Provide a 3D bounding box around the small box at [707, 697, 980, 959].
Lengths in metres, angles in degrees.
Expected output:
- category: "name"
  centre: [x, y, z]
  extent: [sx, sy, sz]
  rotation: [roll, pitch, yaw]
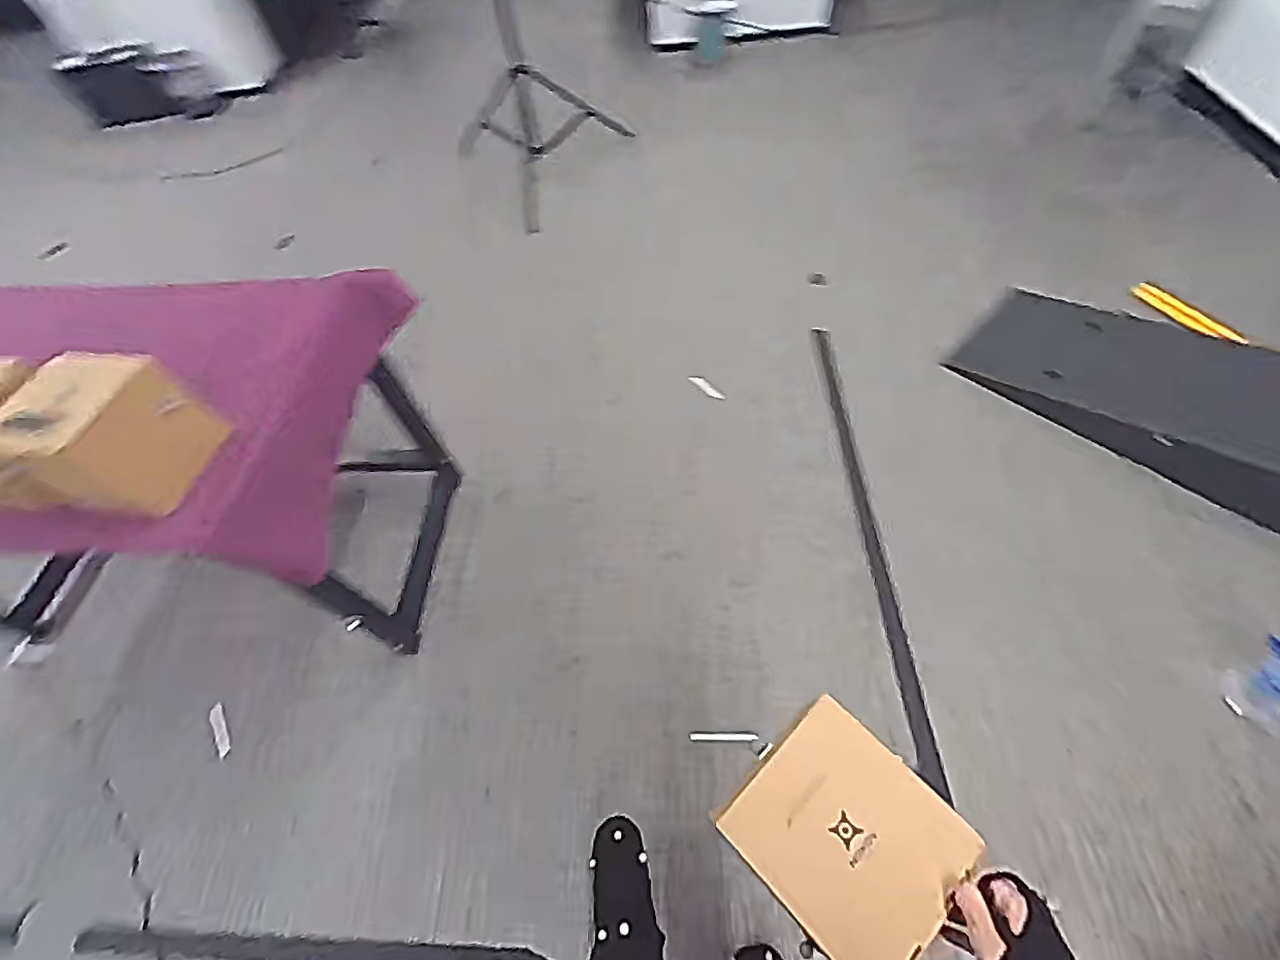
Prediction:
- category: "small box"
  centre: [0.186, 0.353, 0.548]
  extent: [0.168, 0.176, 0.179]
  rotation: [-41, 65, -19]
